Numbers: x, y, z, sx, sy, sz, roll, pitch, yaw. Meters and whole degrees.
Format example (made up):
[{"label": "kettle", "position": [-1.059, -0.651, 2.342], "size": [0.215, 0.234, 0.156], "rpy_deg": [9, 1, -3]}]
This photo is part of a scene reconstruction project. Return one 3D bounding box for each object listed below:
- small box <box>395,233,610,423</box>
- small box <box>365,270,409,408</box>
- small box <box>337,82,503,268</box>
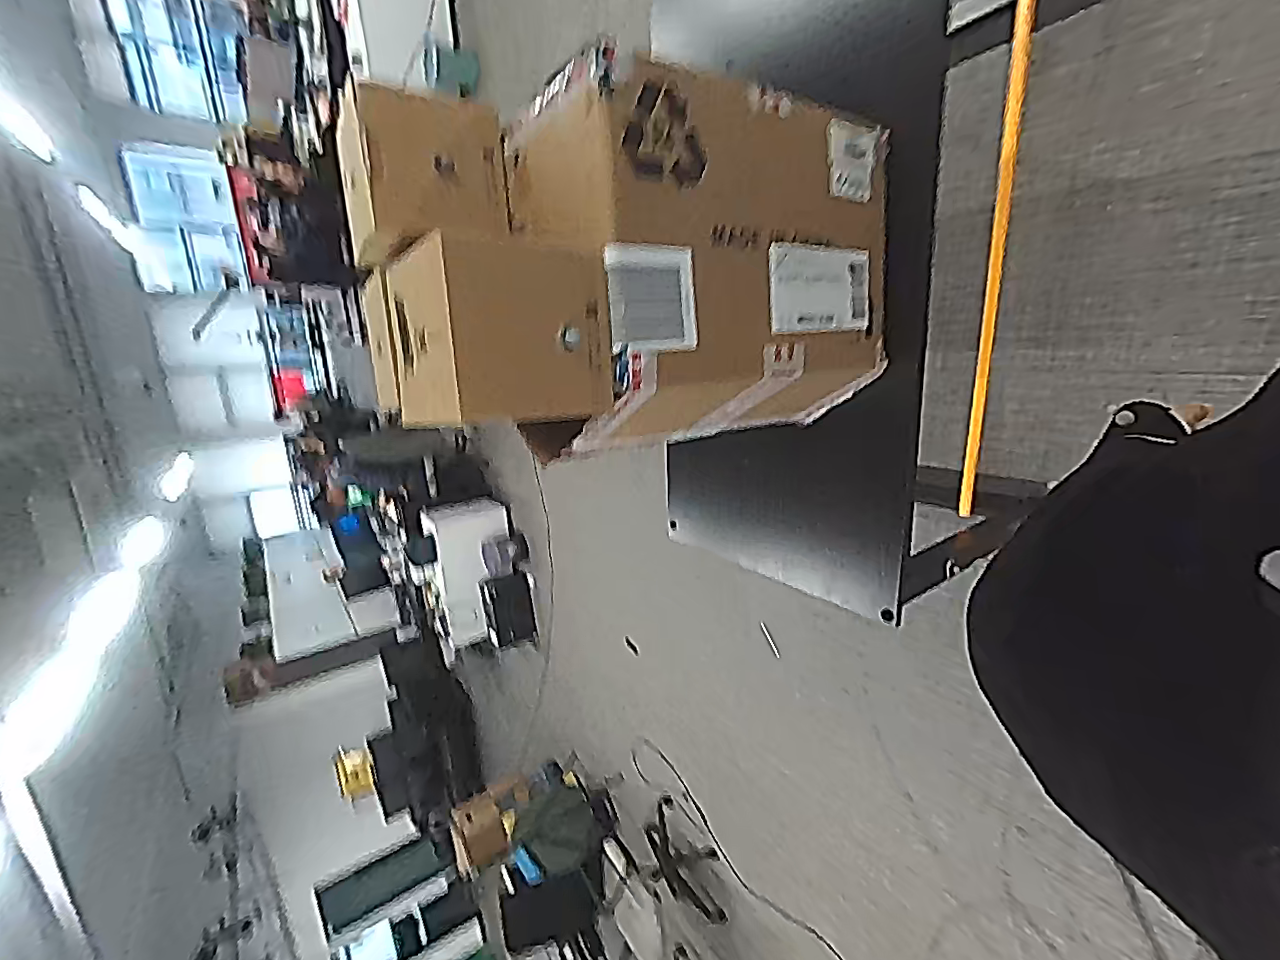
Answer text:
[{"label": "small box", "position": [-0.149, -0.150, 0.586], "size": [0.179, 0.176, 0.168], "rpy_deg": [8, 105, 52]}, {"label": "small box", "position": [-0.278, -0.192, 0.770], "size": [0.179, 0.176, 0.168], "rpy_deg": [8, 107, 56]}, {"label": "small box", "position": [-0.290, -0.386, 0.727], "size": [0.179, 0.176, 0.168], "rpy_deg": [10, 106, 55]}]
